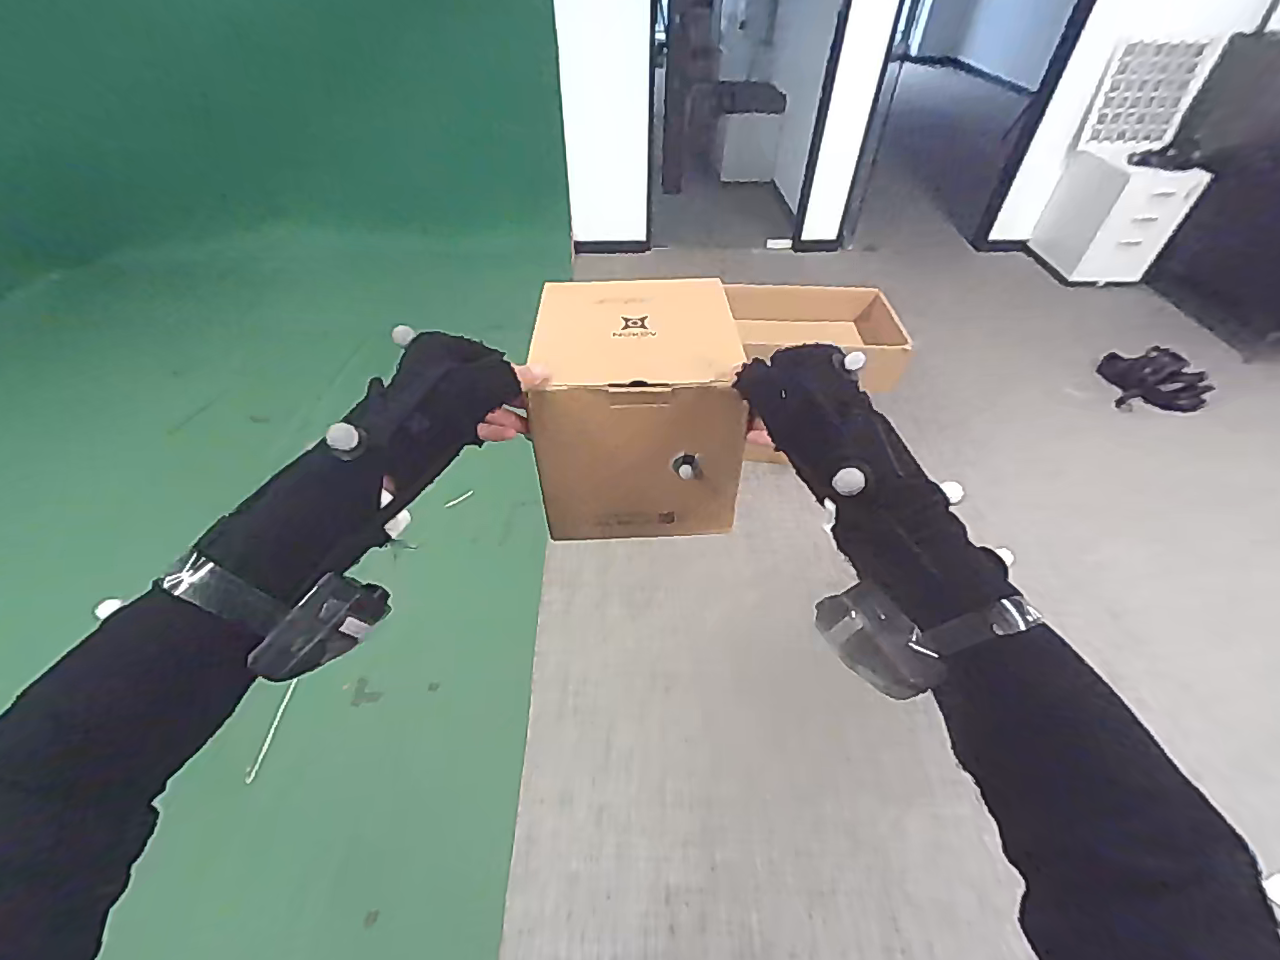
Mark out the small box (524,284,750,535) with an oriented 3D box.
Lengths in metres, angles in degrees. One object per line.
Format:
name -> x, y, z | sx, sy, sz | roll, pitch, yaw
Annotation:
small box -> -0.003, -0.062, 0.497 | 0.168, 0.176, 0.179 | -2, 42, -2
